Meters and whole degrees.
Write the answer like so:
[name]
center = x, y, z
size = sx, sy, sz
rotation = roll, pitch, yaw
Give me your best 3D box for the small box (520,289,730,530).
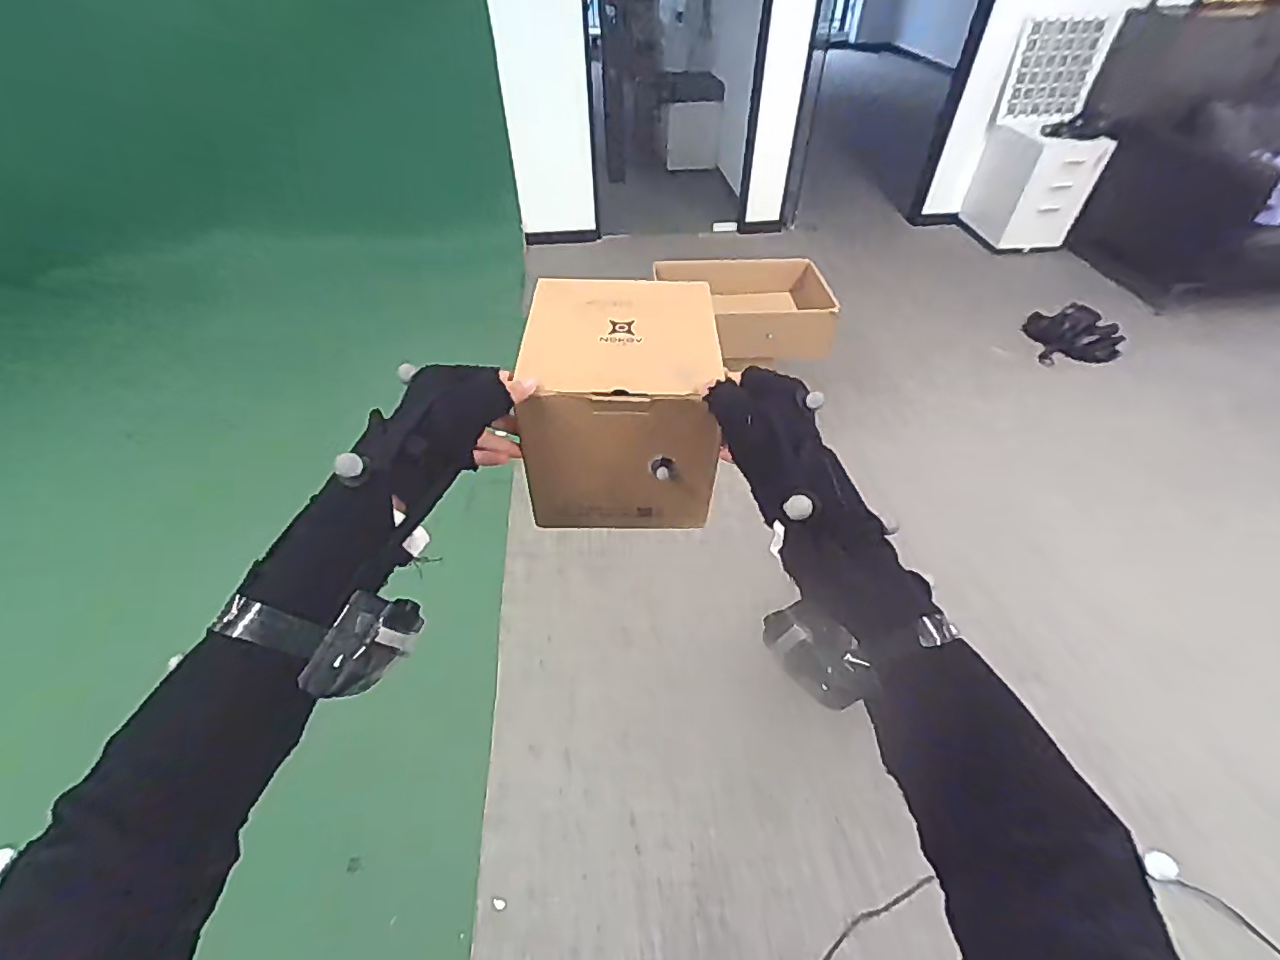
[small box]
center = -0.012, -0.066, 0.525
size = 0.168, 0.176, 0.179
rotation = 1, 46, -2
